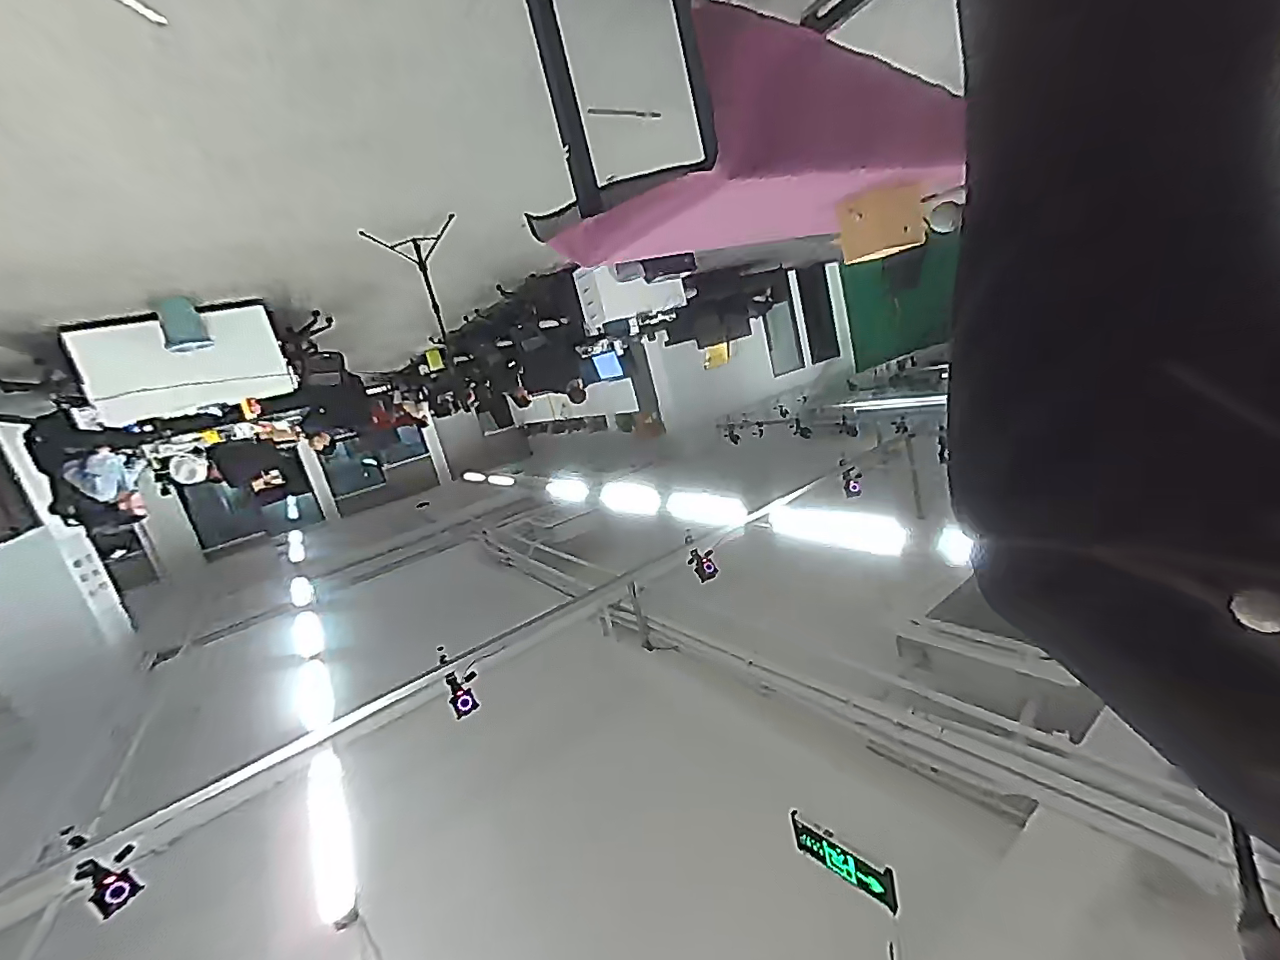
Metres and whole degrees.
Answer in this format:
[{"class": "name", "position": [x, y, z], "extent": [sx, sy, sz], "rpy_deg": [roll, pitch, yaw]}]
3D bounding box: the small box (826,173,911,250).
[{"class": "small box", "position": [0.708, -0.836, 1.681], "extent": [0.179, 0.176, 0.168], "rpy_deg": [-20, -166, -21]}]
